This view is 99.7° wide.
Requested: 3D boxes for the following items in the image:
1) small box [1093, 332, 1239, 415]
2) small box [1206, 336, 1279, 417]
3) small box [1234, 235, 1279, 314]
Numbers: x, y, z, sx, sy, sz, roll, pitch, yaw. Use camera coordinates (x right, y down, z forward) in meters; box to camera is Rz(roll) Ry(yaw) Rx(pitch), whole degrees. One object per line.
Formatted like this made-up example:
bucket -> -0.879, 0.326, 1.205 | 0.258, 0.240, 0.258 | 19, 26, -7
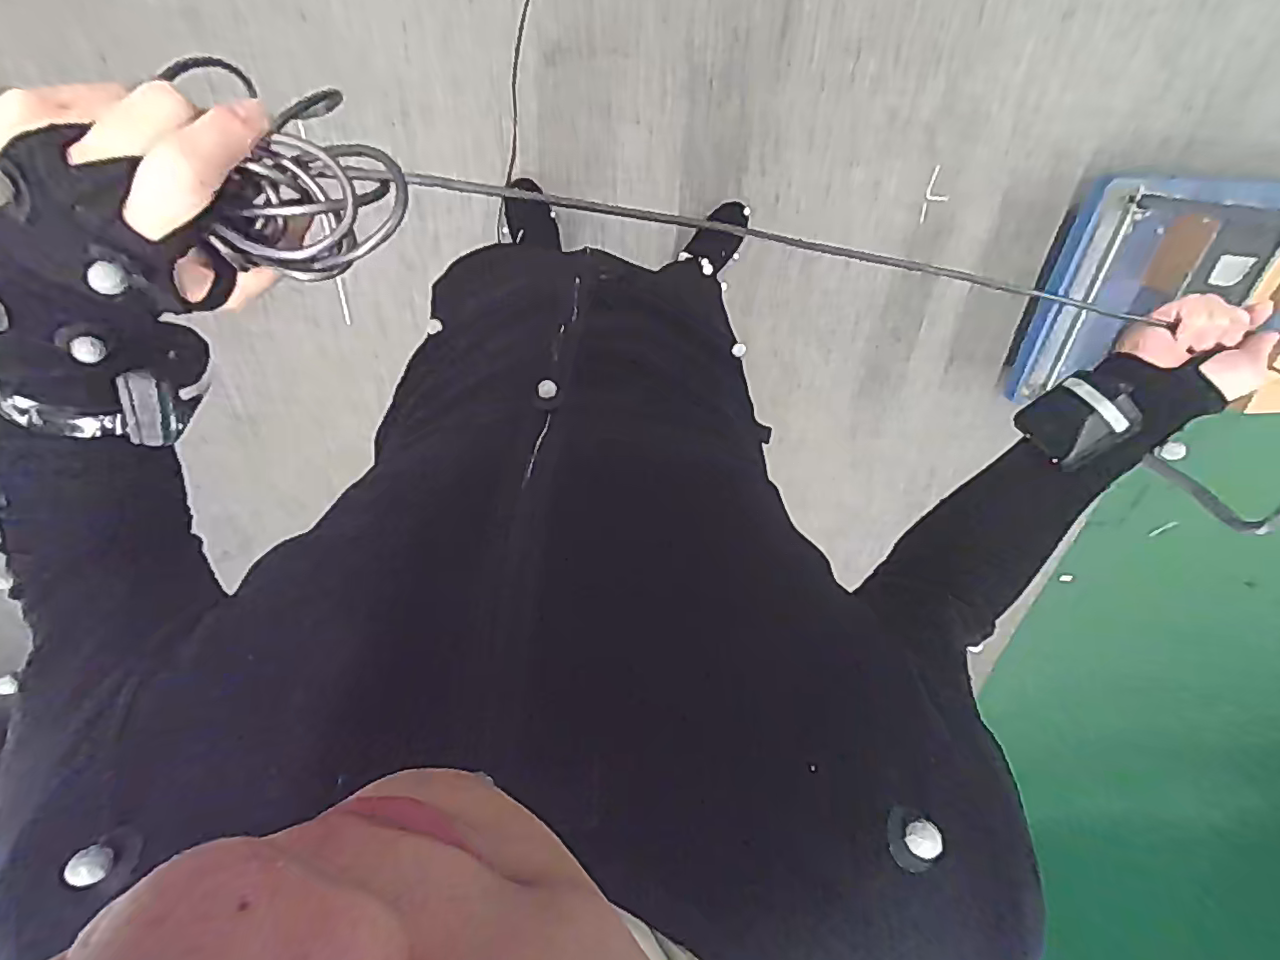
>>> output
small box -> 1.361, -0.282, 1.415 | 0.179, 0.176, 0.168 | 2, 122, -4
small box -> 1.630, -0.279, 1.435 | 0.179, 0.176, 0.168 | -2, 121, -2
small box -> 1.625, -0.492, 1.301 | 0.179, 0.176, 0.168 | -2, 123, -2
